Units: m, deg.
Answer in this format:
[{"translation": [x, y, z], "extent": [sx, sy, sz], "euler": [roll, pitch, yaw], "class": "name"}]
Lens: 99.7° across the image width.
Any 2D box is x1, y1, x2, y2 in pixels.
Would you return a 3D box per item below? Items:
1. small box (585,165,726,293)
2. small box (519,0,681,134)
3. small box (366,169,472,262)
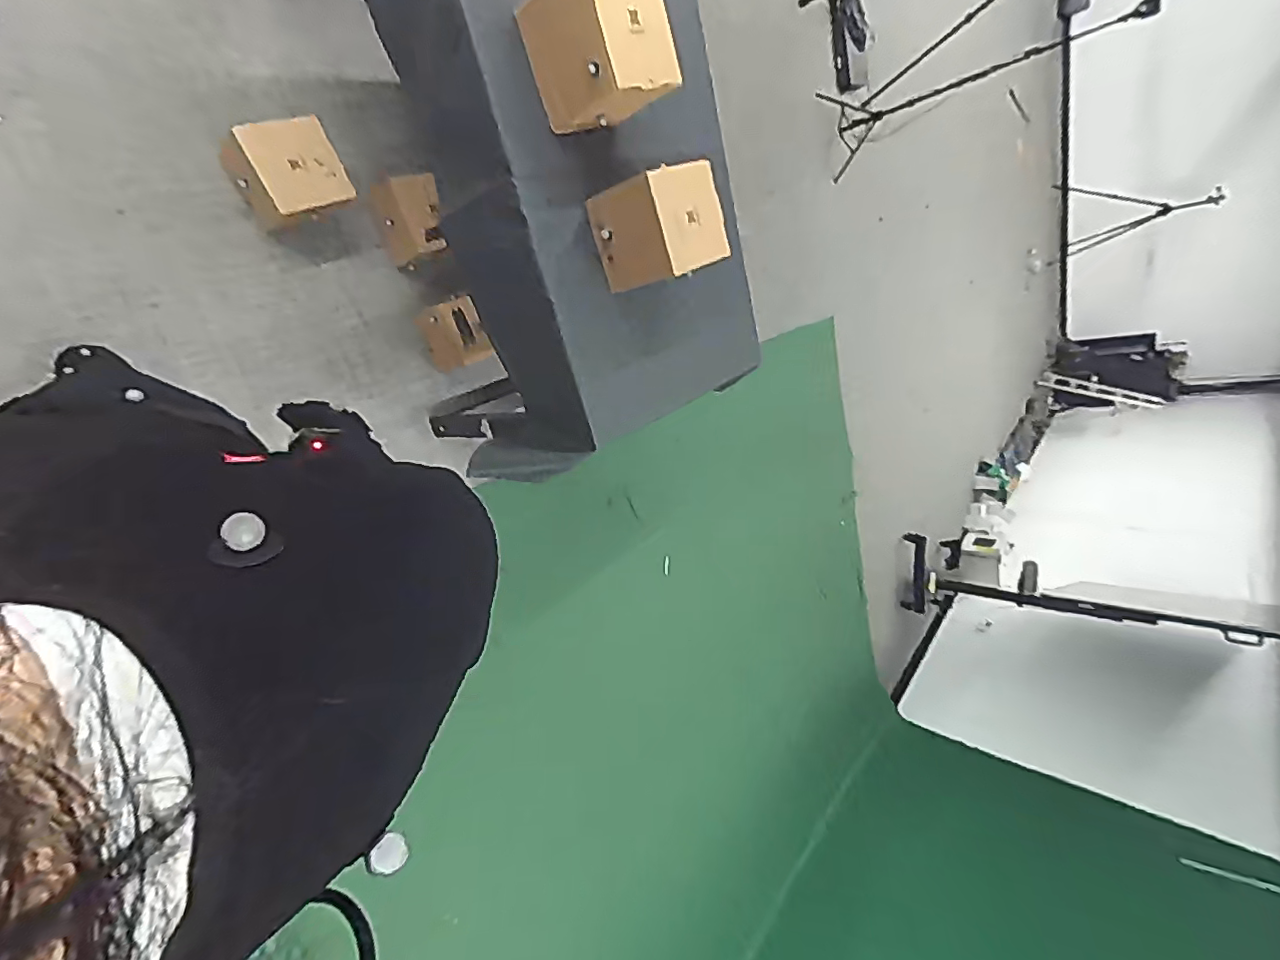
[{"translation": [0.029, -0.458, 0.996], "extent": [0.179, 0.176, 0.168], "euler": [-35, 117, -37], "class": "small box"}, {"translation": [-0.066, -0.694, 0.873], "extent": [0.168, 0.176, 0.179], "euler": [-38, 120, -36], "class": "small box"}, {"translation": [-0.571, -0.677, 1.398], "extent": [0.168, 0.176, 0.179], "euler": [-34, 117, -37], "class": "small box"}]
